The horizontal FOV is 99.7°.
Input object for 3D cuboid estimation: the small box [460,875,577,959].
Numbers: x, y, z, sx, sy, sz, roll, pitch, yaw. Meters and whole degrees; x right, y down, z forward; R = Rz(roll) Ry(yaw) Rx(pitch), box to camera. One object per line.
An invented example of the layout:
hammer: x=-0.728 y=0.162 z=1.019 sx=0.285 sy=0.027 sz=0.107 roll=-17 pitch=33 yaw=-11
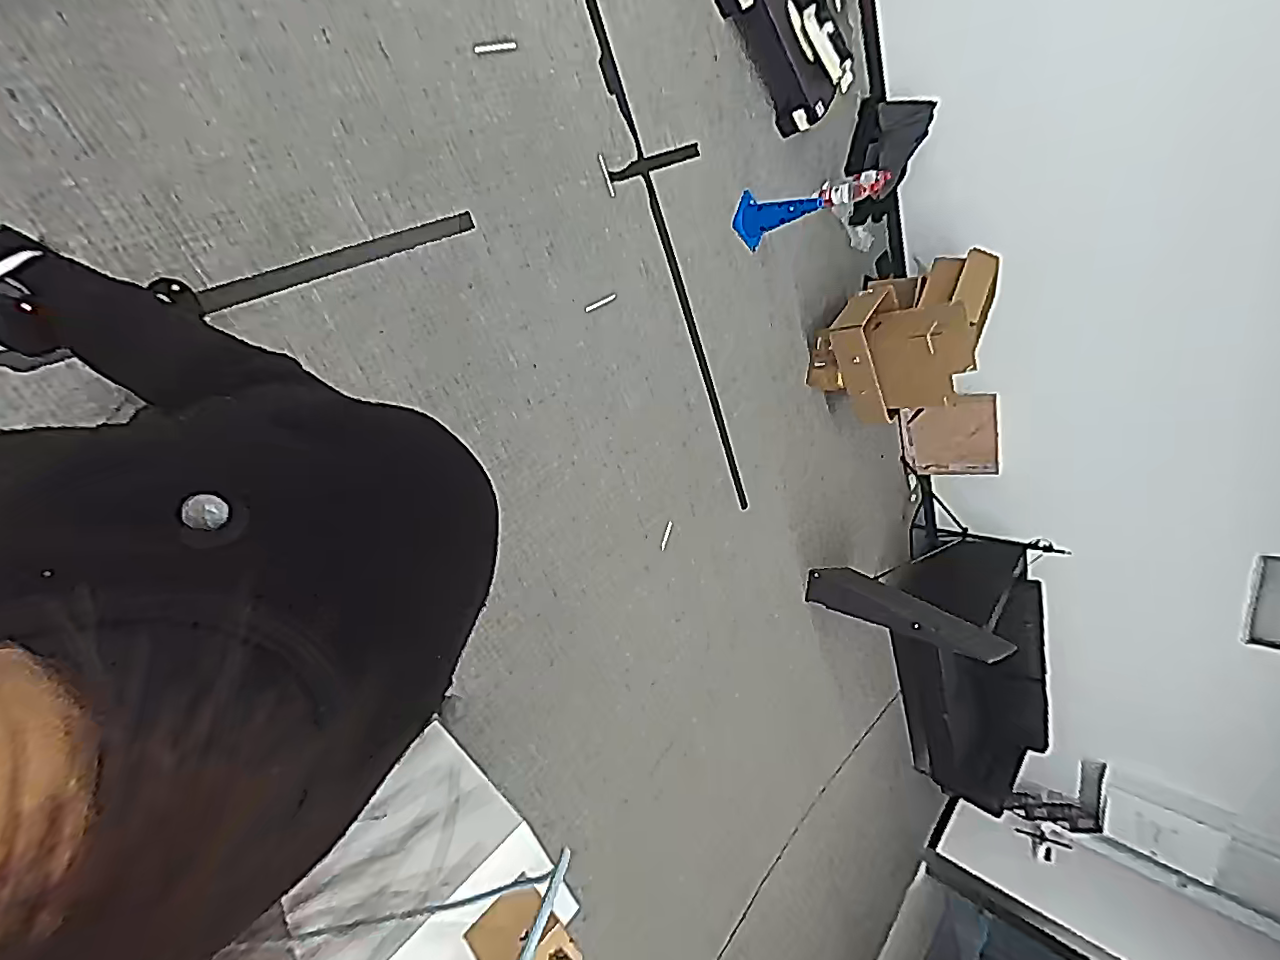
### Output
small box: x=-0.282 y=1.080 z=1.255 sx=0.179 sy=0.176 sz=0.168 roll=-33 pitch=118 yaw=-33
